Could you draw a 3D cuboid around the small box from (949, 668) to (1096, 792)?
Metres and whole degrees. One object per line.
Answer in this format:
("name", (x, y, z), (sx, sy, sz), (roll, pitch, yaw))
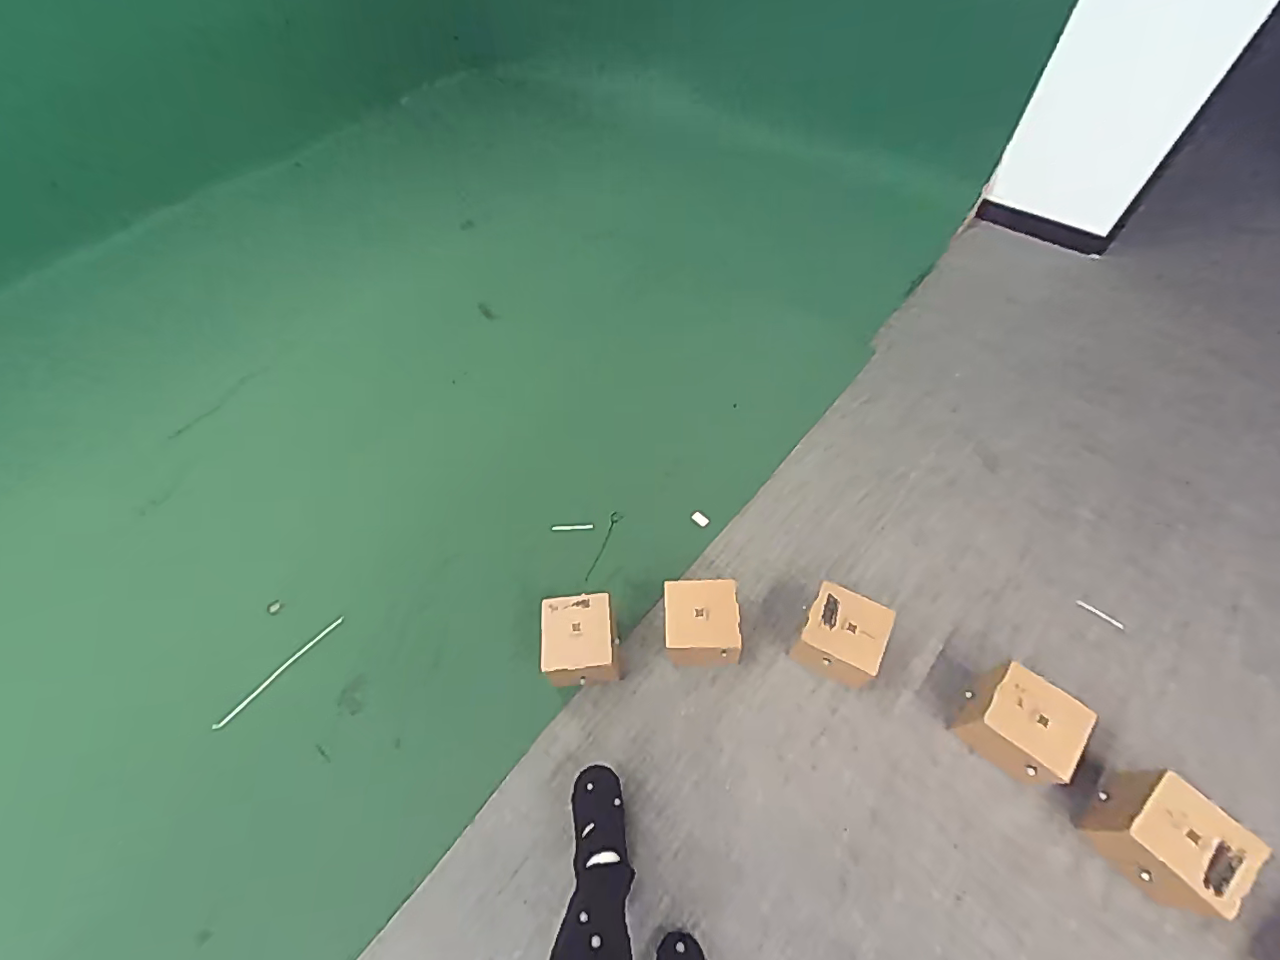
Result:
("small box", (0.822, 0.546, 1.176), (0.179, 0.176, 0.168), (36, 66, 23))

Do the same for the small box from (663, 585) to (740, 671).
("small box", (0.148, 0.371, 1.343), (0.179, 0.176, 0.168), (-2, 57, 3))

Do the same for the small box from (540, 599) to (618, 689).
("small box", (-0.148, 0.411, 1.336), (0.168, 0.176, 0.179), (-6, 58, 1))
